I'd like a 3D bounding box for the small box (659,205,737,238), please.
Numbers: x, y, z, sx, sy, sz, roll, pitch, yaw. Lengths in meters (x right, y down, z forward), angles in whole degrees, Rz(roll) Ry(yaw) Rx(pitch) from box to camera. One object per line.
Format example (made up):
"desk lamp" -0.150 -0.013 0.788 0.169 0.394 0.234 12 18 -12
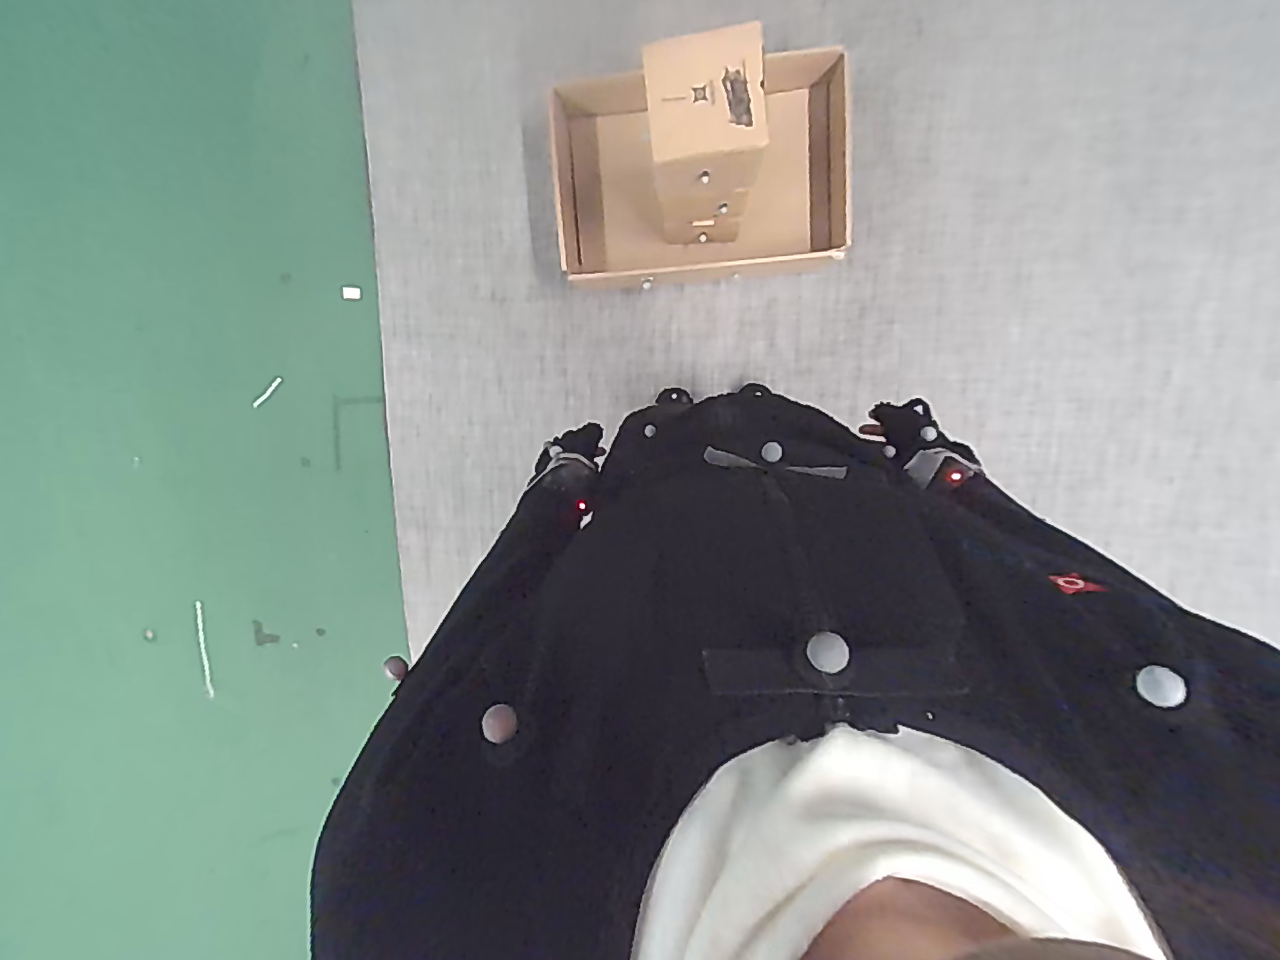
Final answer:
"small box" 0.131 -0.644 1.195 0.168 0.176 0.179 0 100 6

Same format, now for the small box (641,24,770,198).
"small box" 0.101 -0.582 0.876 0.179 0.176 0.168 -8 100 6
